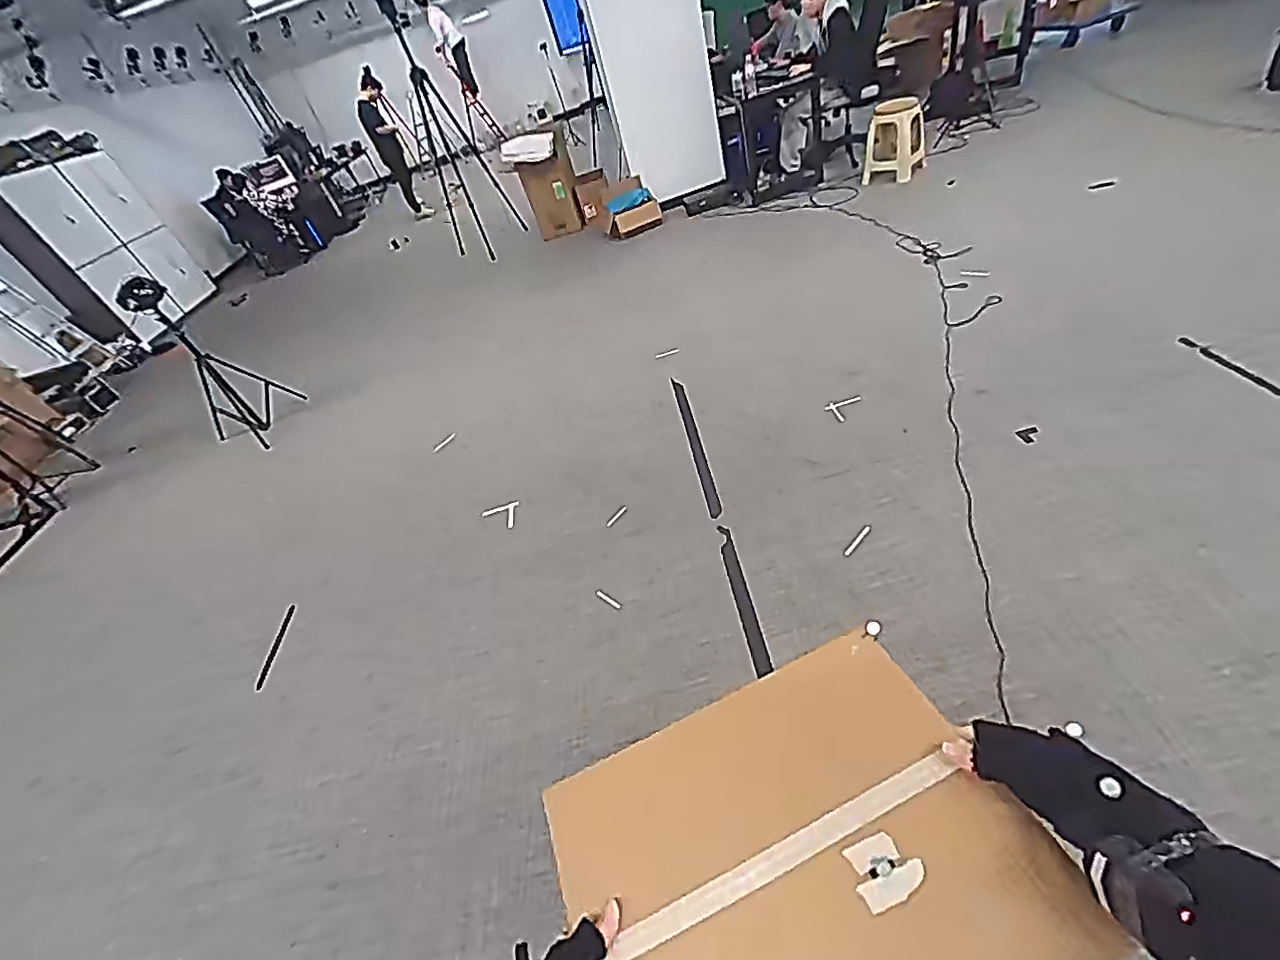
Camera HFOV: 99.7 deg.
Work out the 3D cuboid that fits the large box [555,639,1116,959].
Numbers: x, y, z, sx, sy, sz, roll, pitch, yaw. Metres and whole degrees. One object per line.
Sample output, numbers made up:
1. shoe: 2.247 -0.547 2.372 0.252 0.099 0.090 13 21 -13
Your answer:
1. large box: 0.170 0.460 0.593 0.408 0.320 0.320 -23 40 -9
